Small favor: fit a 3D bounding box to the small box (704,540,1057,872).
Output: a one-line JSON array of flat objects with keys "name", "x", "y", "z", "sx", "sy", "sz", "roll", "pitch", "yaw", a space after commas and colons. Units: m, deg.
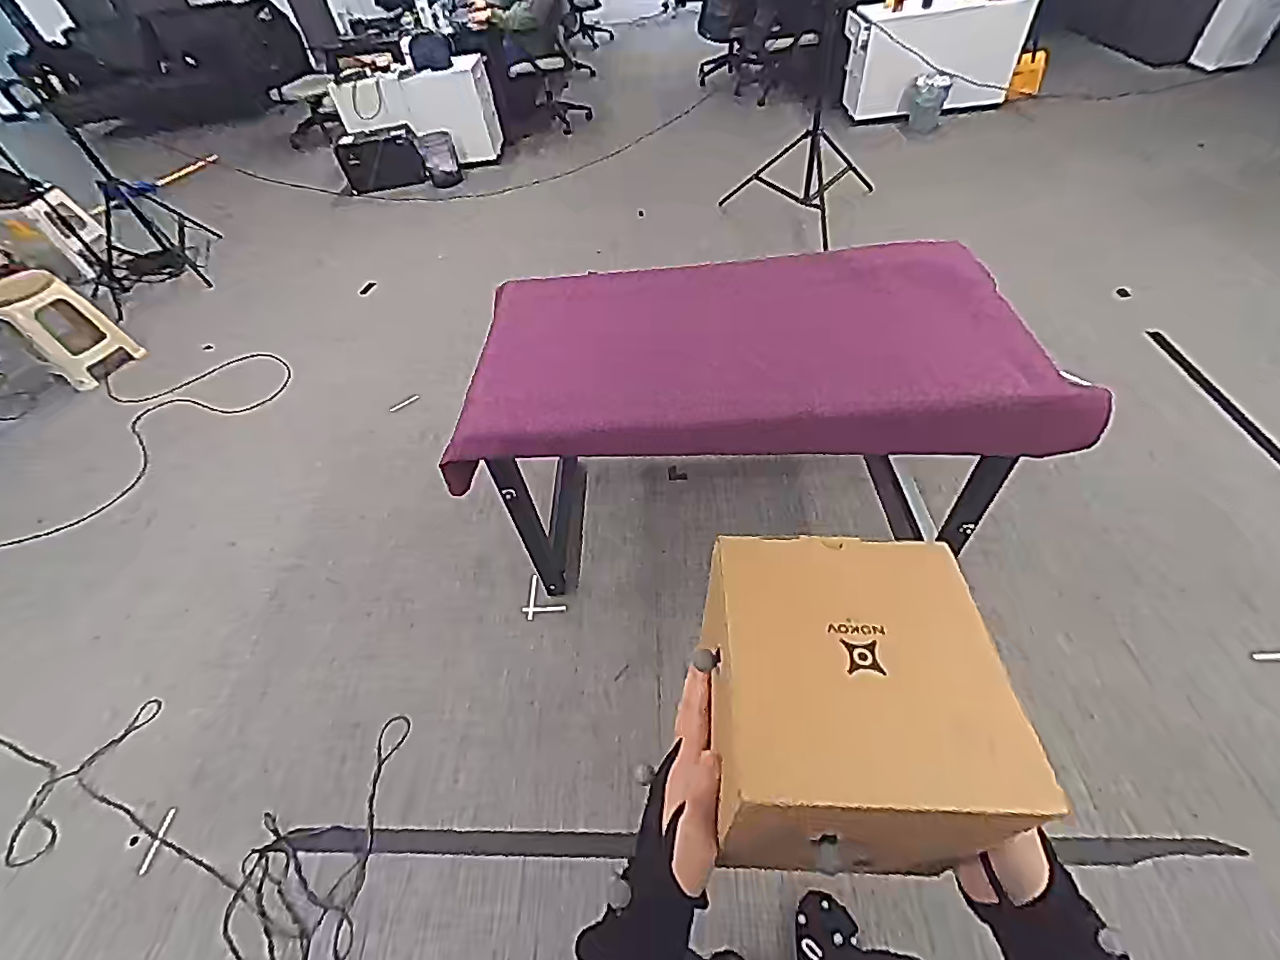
[{"name": "small box", "x": 0.137, "y": 0.164, "z": 0.393, "sx": 0.168, "sy": 0.176, "sz": 0.179, "roll": 1, "pitch": 44, "yaw": 1}]
